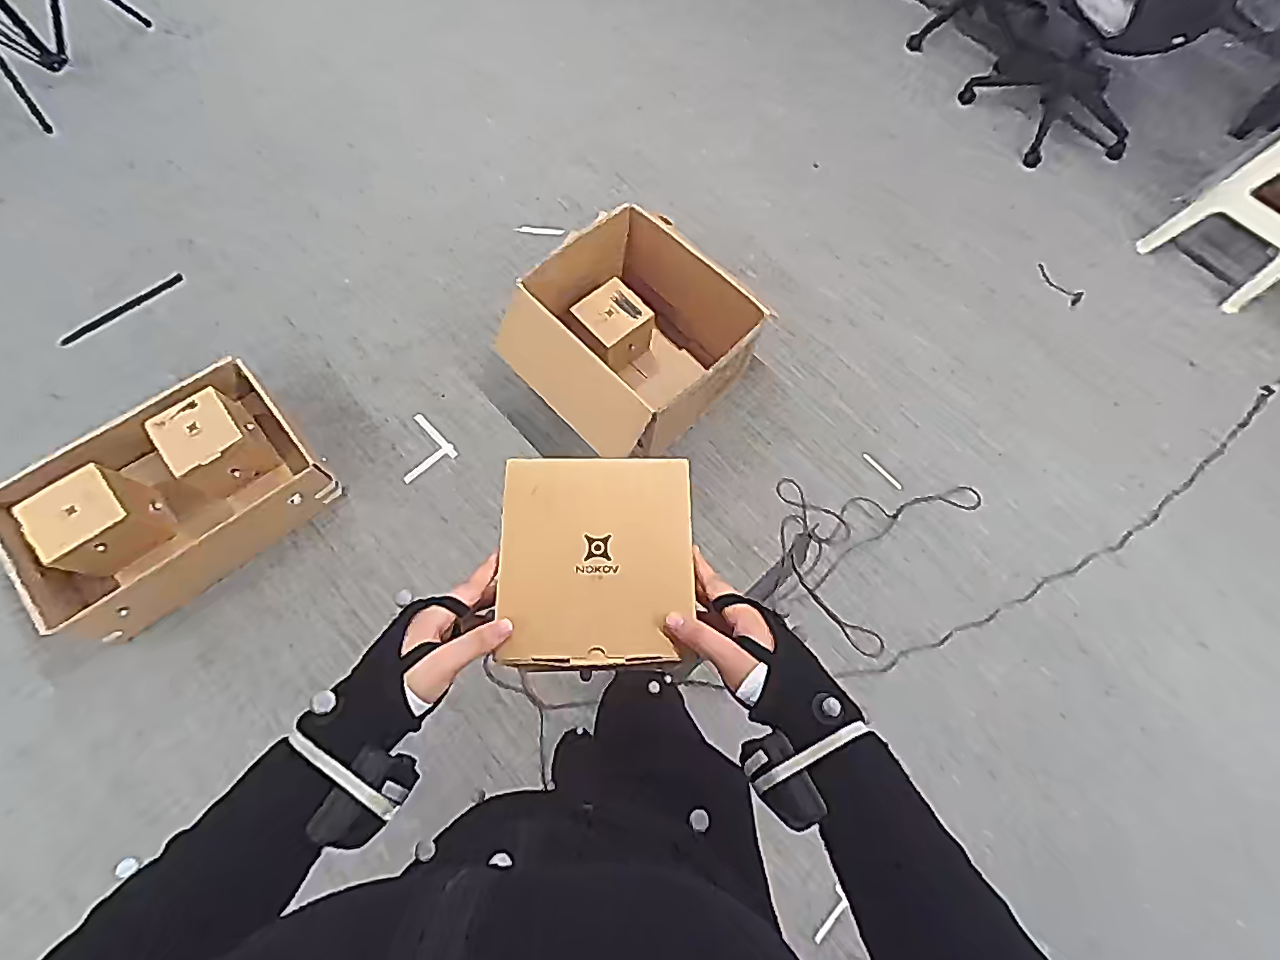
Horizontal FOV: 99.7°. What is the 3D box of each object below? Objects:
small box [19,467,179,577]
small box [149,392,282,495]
[{"bbox_3d":[-1.255,0.105,1.268,0.179,0.176,0.168,-39,79,-17],"label":"small box"},{"bbox_3d":[-1.046,-0.080,1.349,0.168,0.176,0.179,-37,78,-14],"label":"small box"}]
